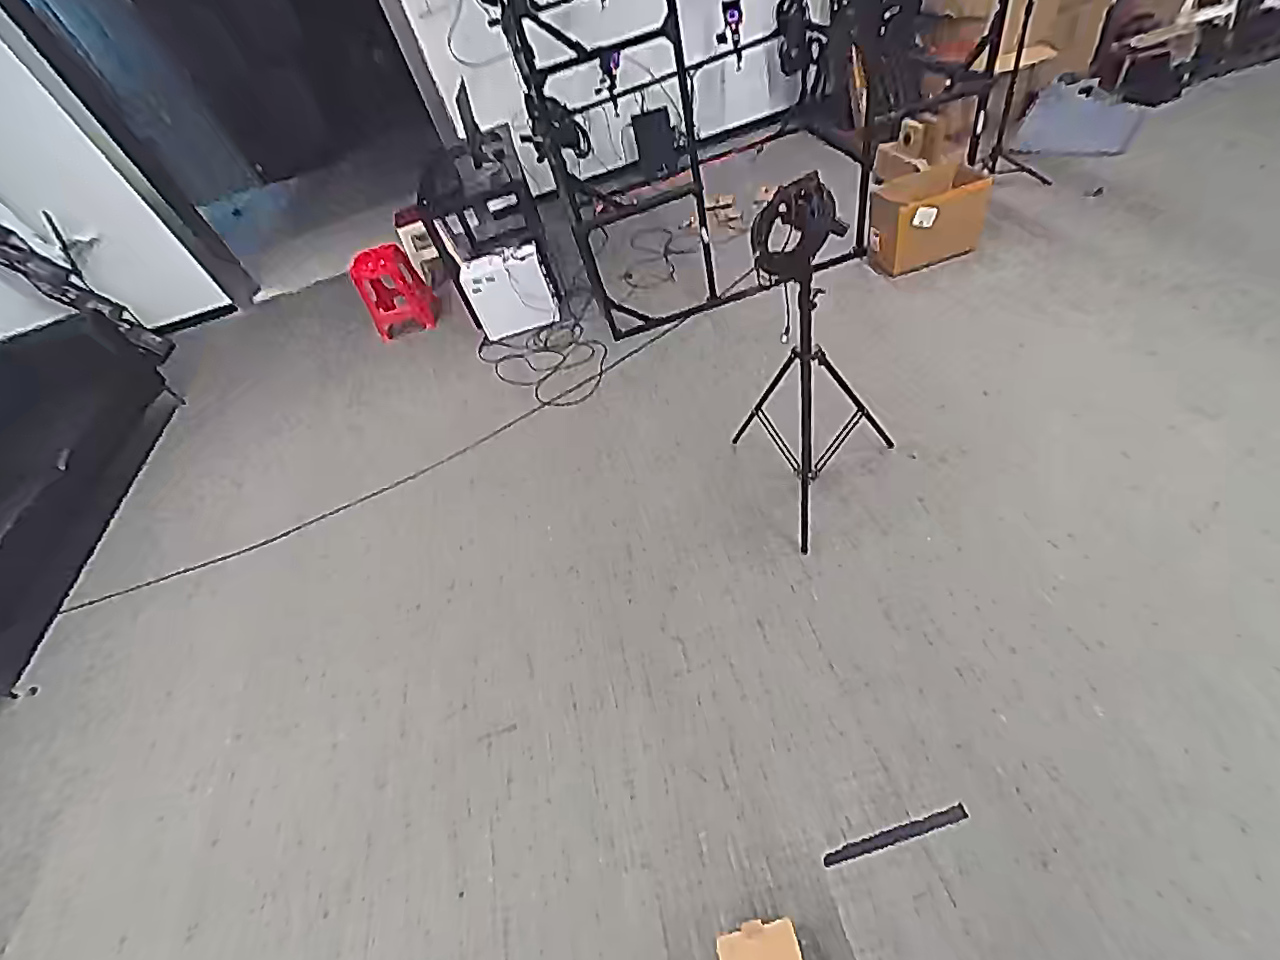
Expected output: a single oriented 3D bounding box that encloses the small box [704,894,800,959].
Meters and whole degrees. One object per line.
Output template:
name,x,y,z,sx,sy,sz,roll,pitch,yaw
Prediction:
small box,0.239,0.978,1.102,0.168,0.176,0.179,-17,47,3
